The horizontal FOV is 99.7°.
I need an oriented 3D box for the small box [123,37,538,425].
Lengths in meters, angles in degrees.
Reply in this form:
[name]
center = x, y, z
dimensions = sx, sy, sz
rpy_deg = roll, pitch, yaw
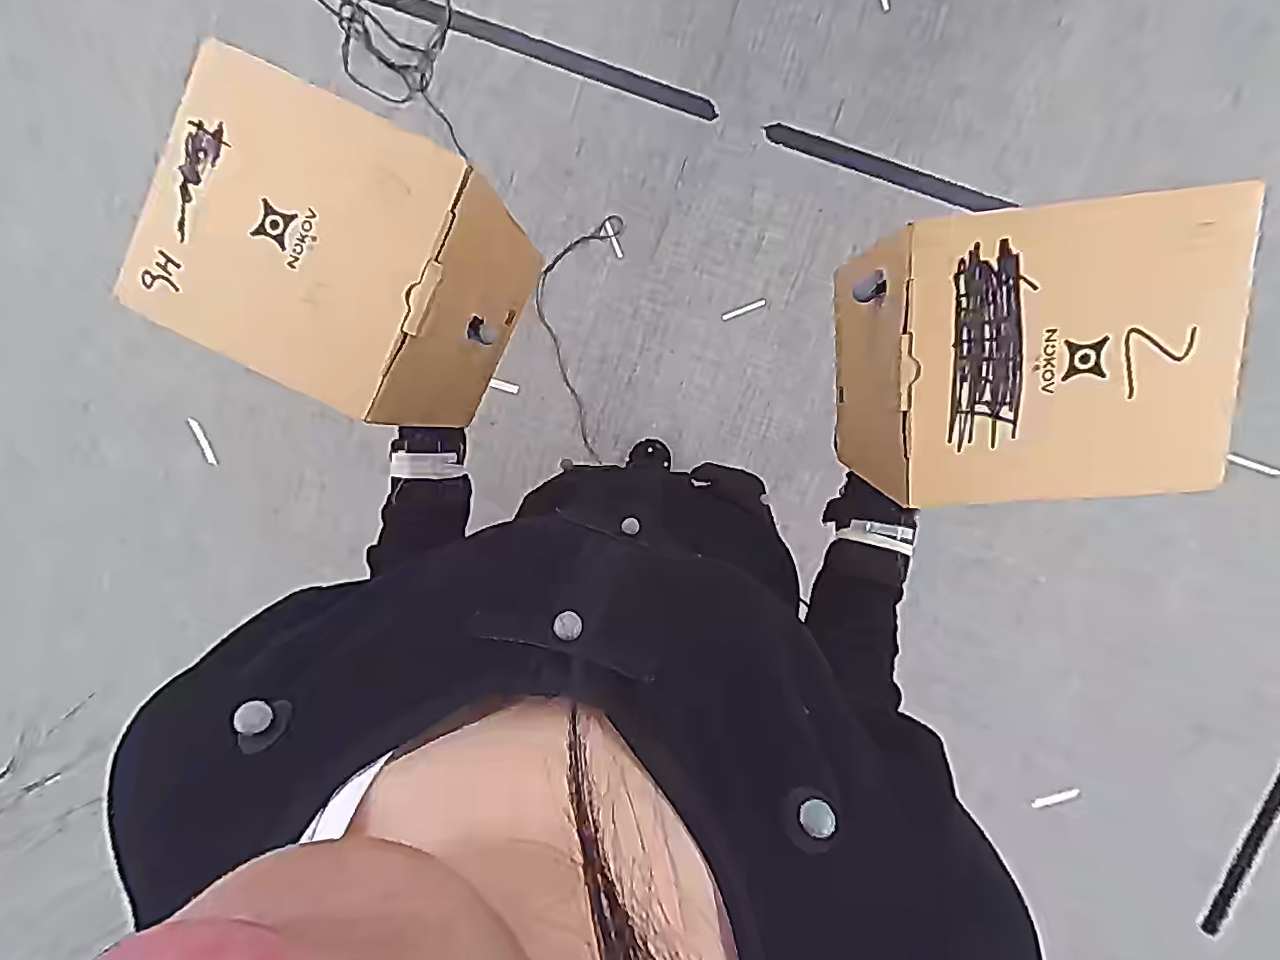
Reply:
[small box]
center = -0.196, -0.152, 0.397
dimensions = 0.179, 0.176, 0.168
rpy_deg = 26, 96, 0
